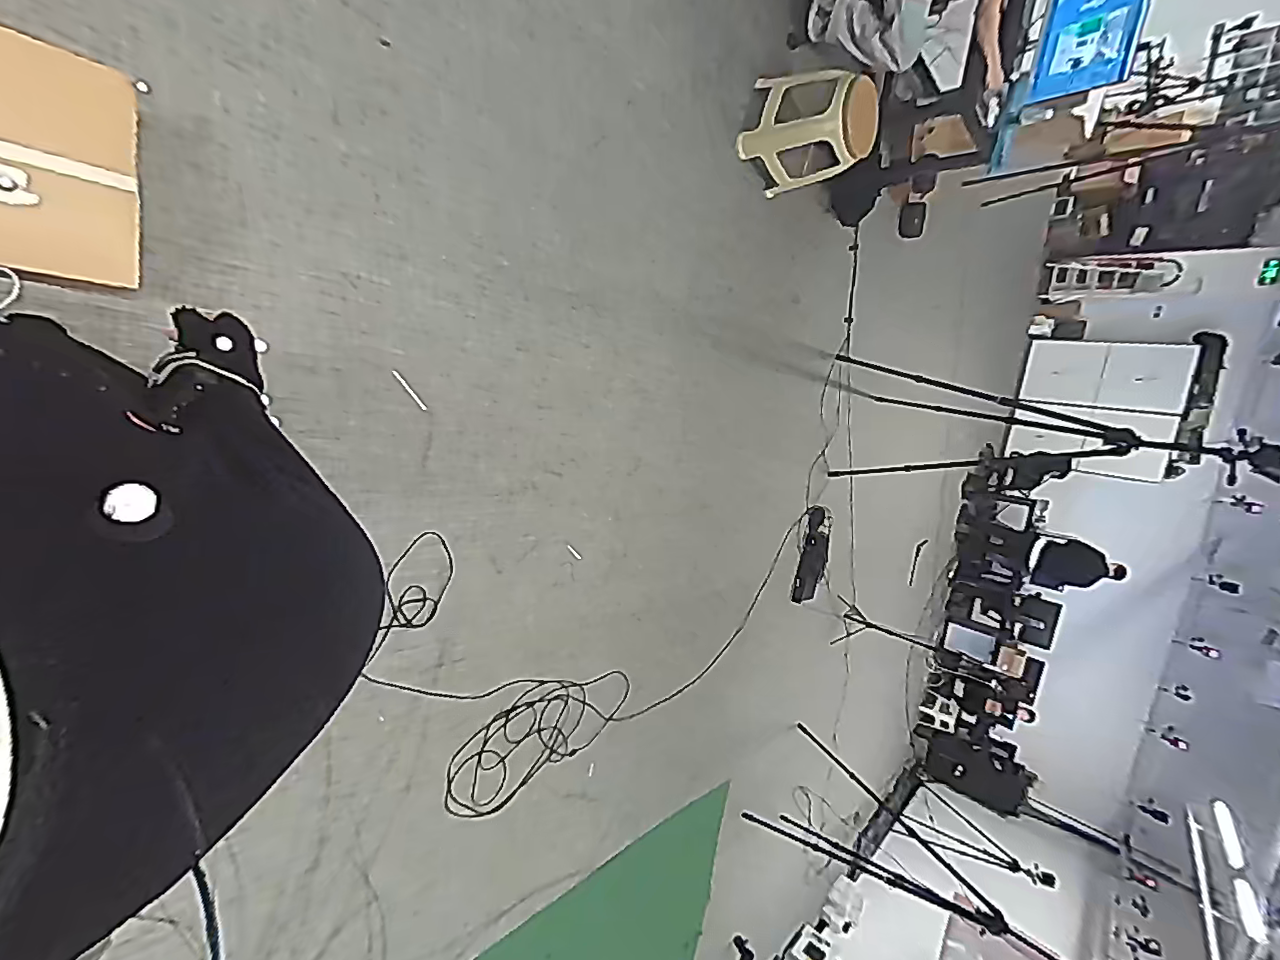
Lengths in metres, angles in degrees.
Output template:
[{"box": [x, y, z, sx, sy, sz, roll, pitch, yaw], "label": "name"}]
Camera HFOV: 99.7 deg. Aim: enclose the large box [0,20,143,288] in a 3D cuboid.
[{"box": [-1.024, -0.489, 0.794, 0.408, 0.320, 0.320, -2, 104, -48], "label": "large box"}]
